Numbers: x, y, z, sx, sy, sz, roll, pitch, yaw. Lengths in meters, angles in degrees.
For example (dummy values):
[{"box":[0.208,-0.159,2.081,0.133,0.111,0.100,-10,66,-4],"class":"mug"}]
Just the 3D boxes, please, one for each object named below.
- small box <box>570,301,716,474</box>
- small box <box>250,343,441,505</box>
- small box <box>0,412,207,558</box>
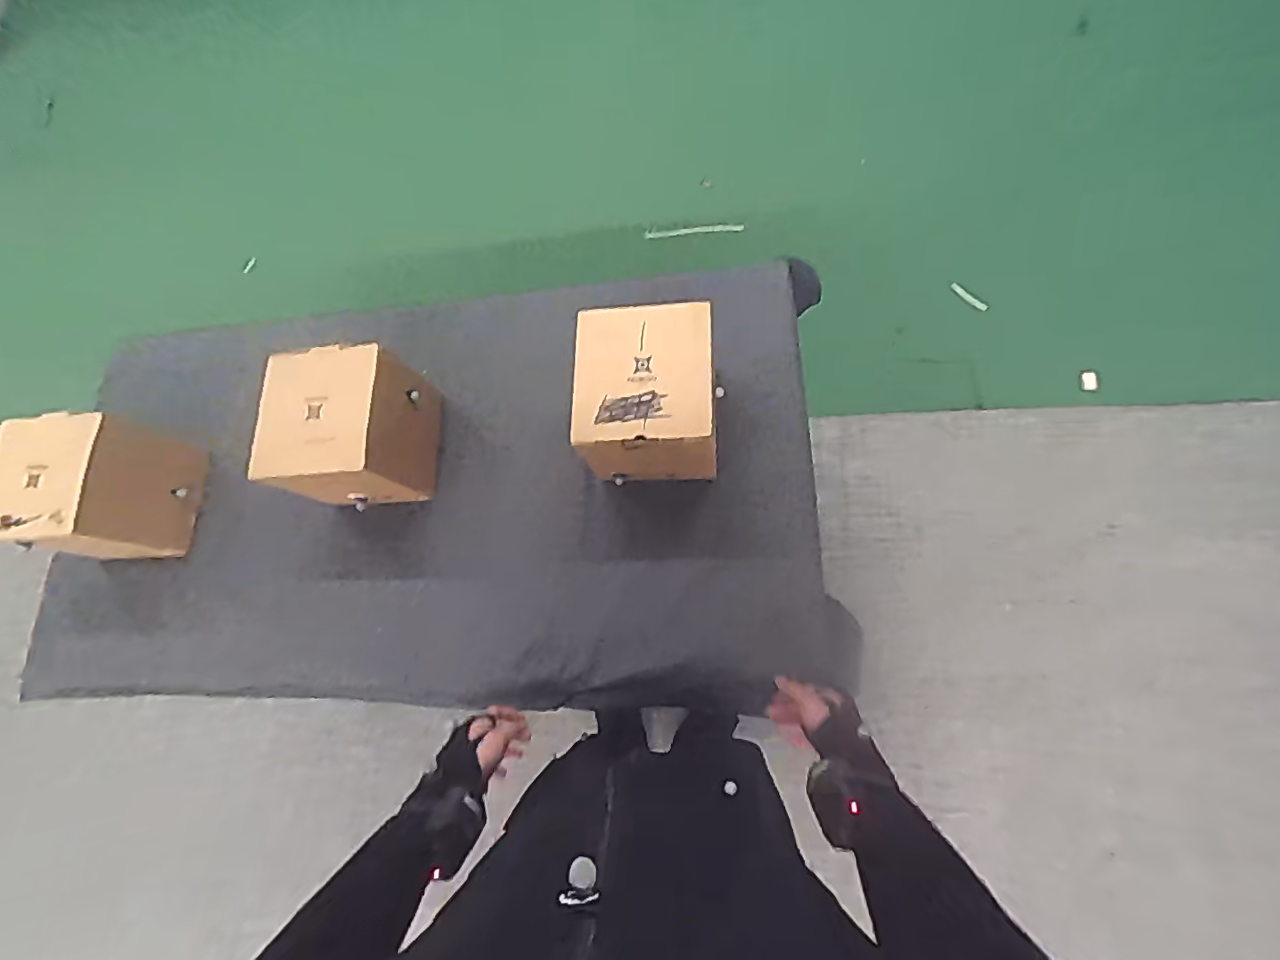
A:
[{"box":[0.014,-0.107,0.709,0.168,0.176,0.179,-1,75,9],"class":"small box"},{"box":[-0.401,-0.070,0.768,0.168,0.176,0.179,-5,76,9],"class":"small box"},{"box":[-0.799,0.015,0.804,0.168,0.176,0.179,-4,74,8],"class":"small box"}]
